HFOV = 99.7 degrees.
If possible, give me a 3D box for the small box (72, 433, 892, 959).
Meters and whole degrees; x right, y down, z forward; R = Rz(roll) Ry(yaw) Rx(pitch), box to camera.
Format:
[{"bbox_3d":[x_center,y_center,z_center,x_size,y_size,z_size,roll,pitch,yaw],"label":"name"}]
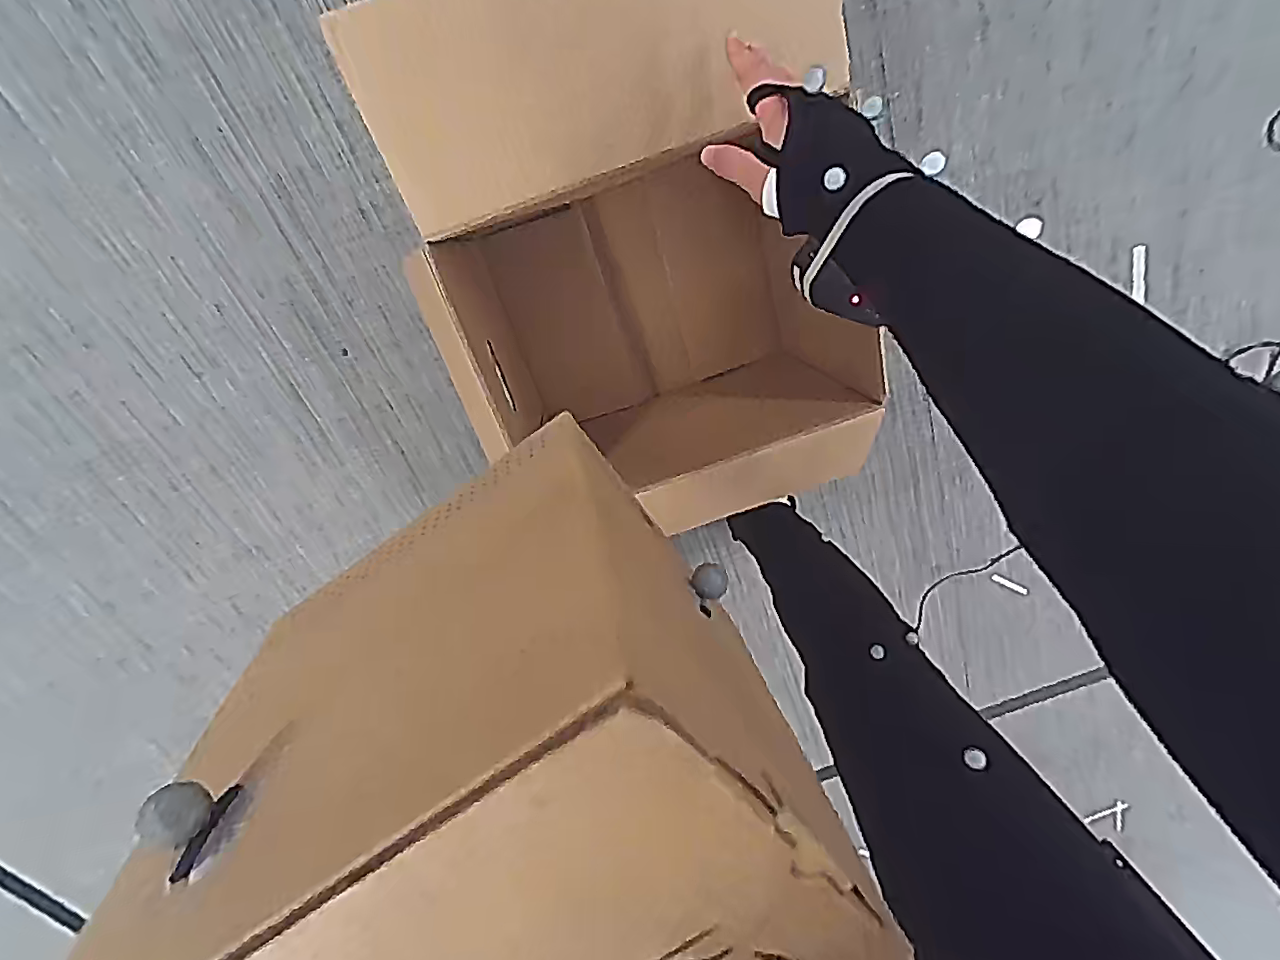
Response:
[{"bbox_3d":[-0.045,0.110,0.221,0.179,0.176,0.168,-35,117,4],"label":"small box"}]
